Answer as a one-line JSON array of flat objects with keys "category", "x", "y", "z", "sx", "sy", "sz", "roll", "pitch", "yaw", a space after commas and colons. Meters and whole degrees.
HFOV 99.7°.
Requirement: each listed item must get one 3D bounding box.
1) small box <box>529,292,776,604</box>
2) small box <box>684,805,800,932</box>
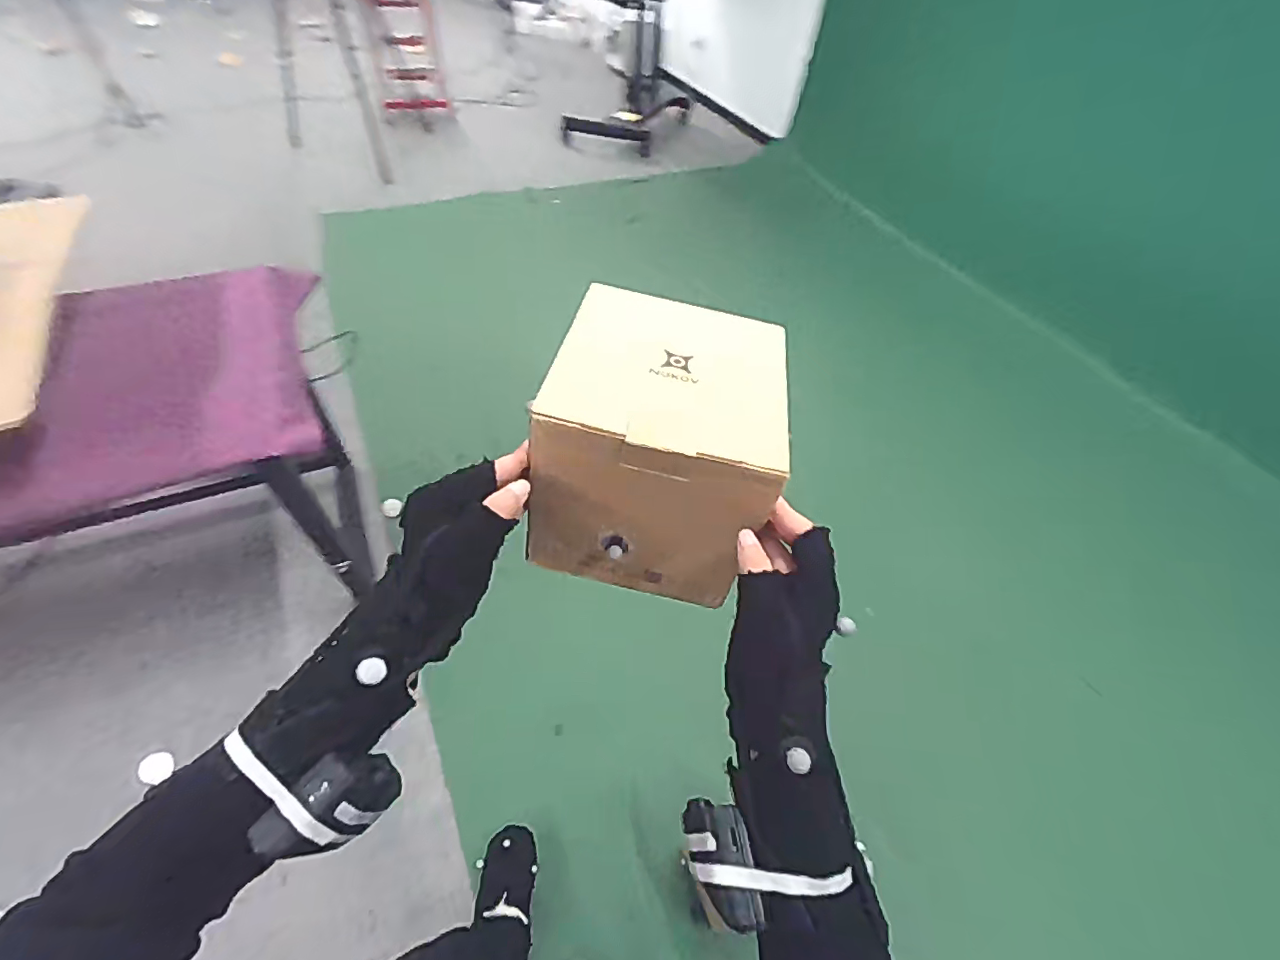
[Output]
[{"category": "small box", "x": 0.006, "y": -0.025, "z": 0.456, "sx": 0.168, "sy": 0.176, "sz": 0.179, "roll": 13, "pitch": 47, "yaw": -1}, {"category": "small box", "x": 0.204, "y": 0.825, "z": 1.147, "sx": 0.179, "sy": 0.176, "sz": 0.168, "roll": -15, "pitch": 54, "yaw": -18}]
